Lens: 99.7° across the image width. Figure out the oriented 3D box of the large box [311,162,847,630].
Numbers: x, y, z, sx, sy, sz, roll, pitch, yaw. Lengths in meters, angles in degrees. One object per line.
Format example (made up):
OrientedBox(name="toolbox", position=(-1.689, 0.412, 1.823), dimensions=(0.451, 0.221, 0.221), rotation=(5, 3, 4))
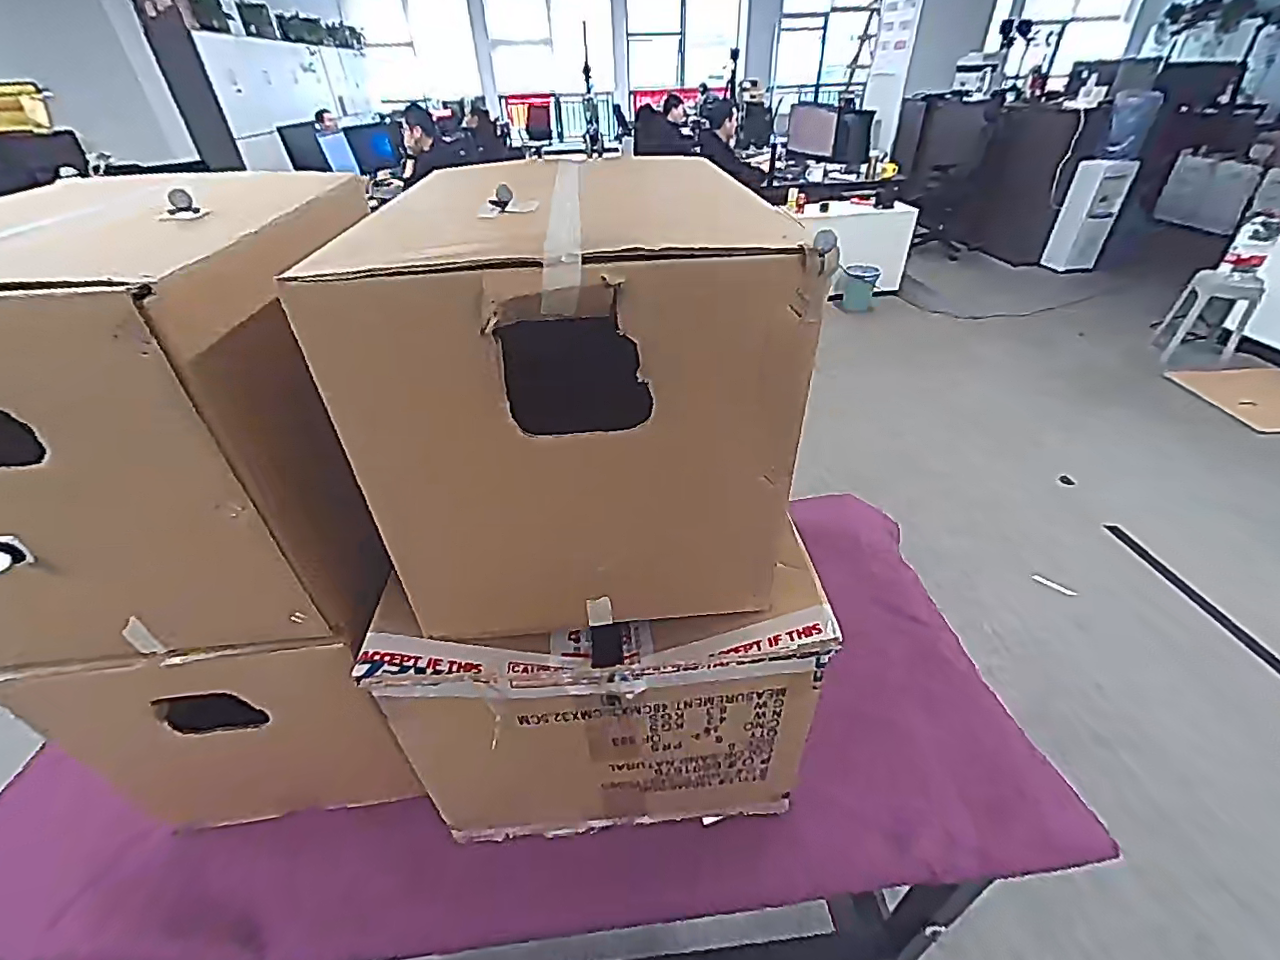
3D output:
OrientedBox(name="large box", position=(-0.049, -0.115, 0.548), dimensions=(0.320, 0.320, 0.408), rotation=(-6, 38, -3))
